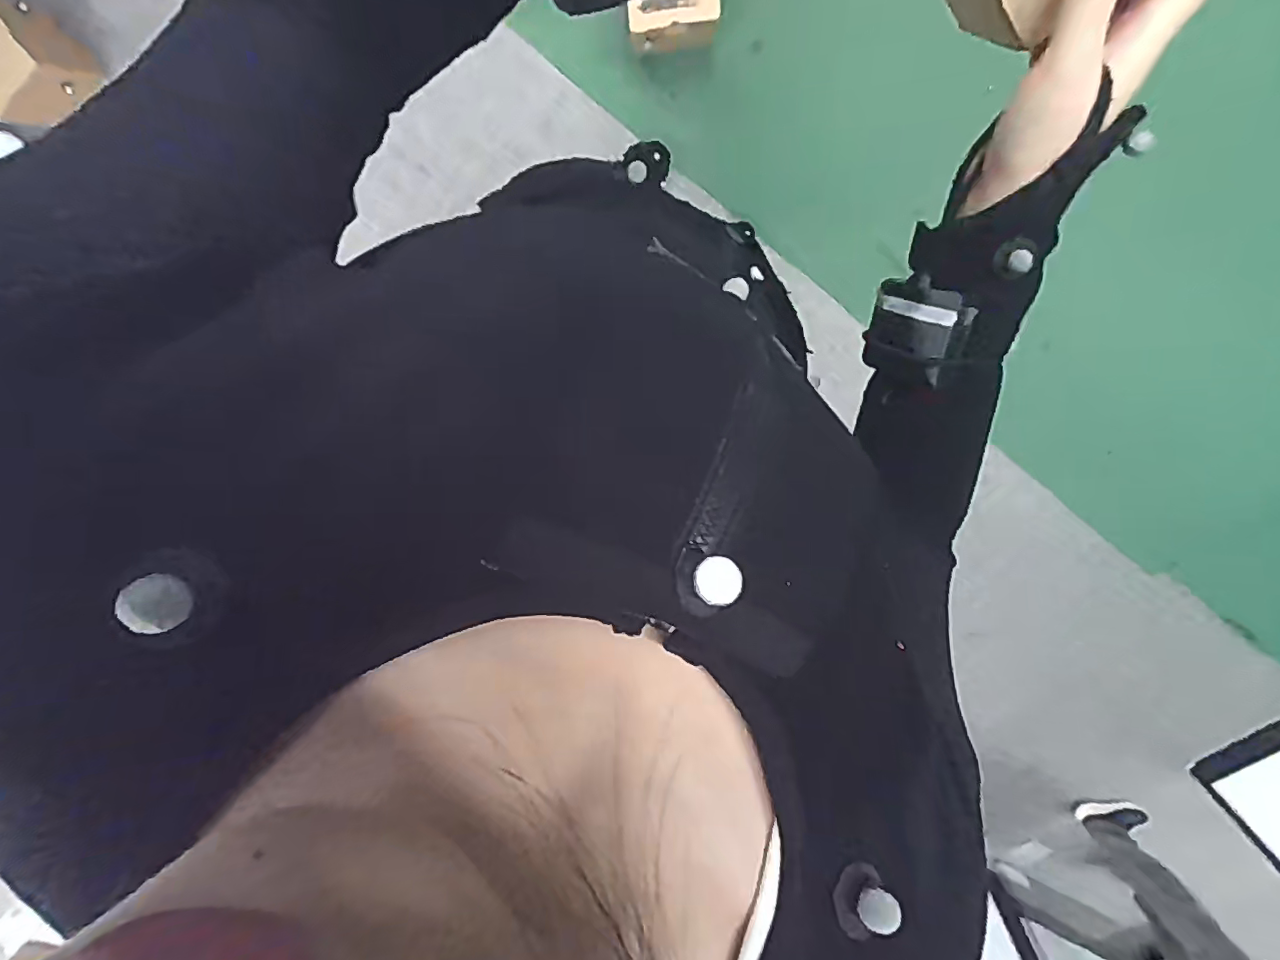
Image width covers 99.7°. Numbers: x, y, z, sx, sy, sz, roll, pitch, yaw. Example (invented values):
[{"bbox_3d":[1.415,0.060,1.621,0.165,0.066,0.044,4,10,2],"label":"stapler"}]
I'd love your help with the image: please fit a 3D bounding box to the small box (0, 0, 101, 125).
[{"bbox_3d":[-1.283,-0.868,1.109,0.179,0.176,0.168,-29,113,19],"label":"small box"}]
